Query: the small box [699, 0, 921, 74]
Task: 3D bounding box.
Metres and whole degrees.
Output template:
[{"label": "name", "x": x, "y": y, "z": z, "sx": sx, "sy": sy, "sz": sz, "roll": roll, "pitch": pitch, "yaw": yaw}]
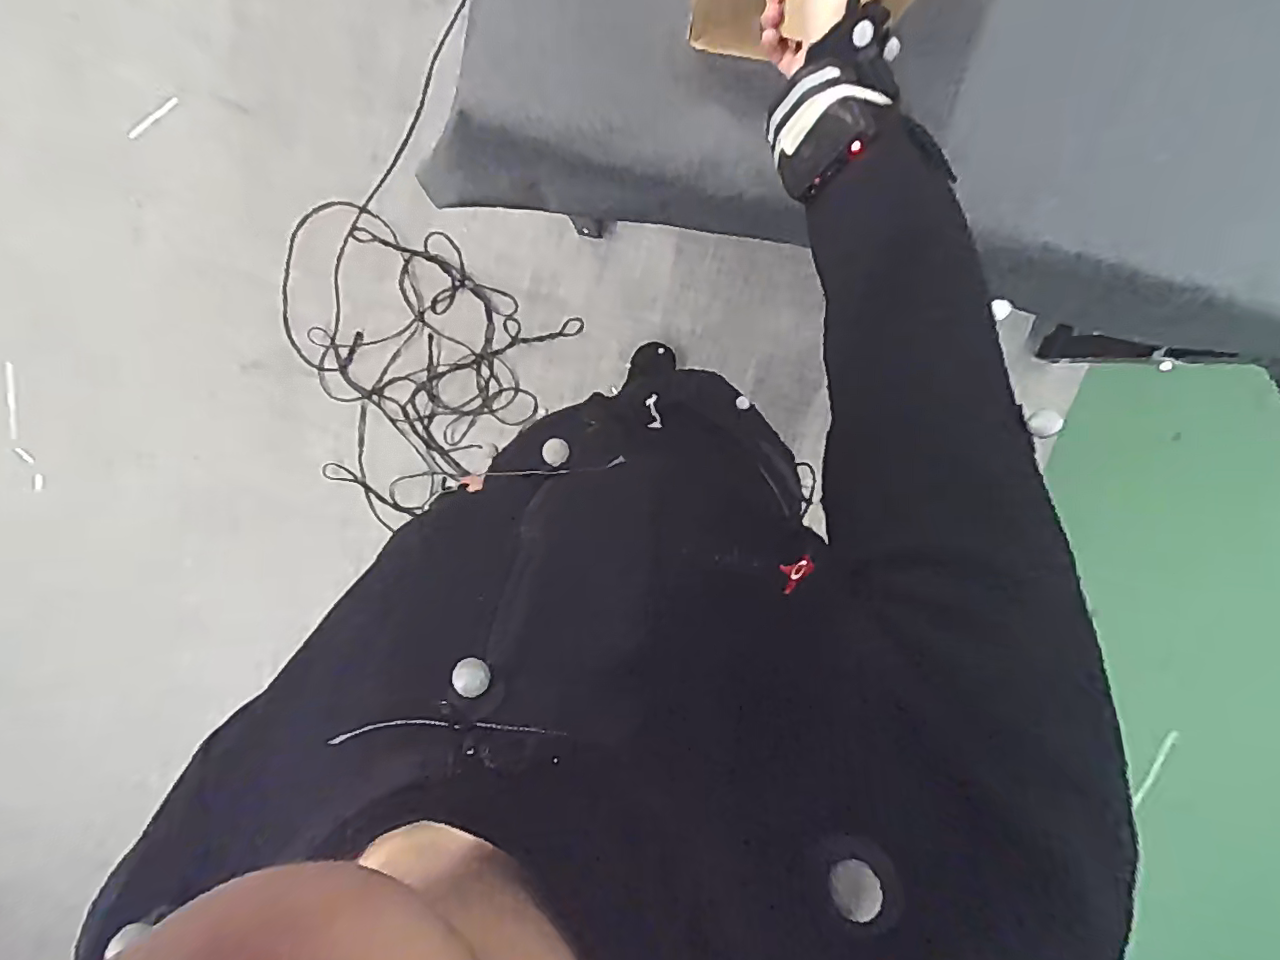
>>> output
[{"label": "small box", "x": 0.145, "y": -0.466, "z": 0.422, "sx": 0.168, "sy": 0.176, "sz": 0.179, "roll": 8, "pitch": 105, "yaw": -2}]
